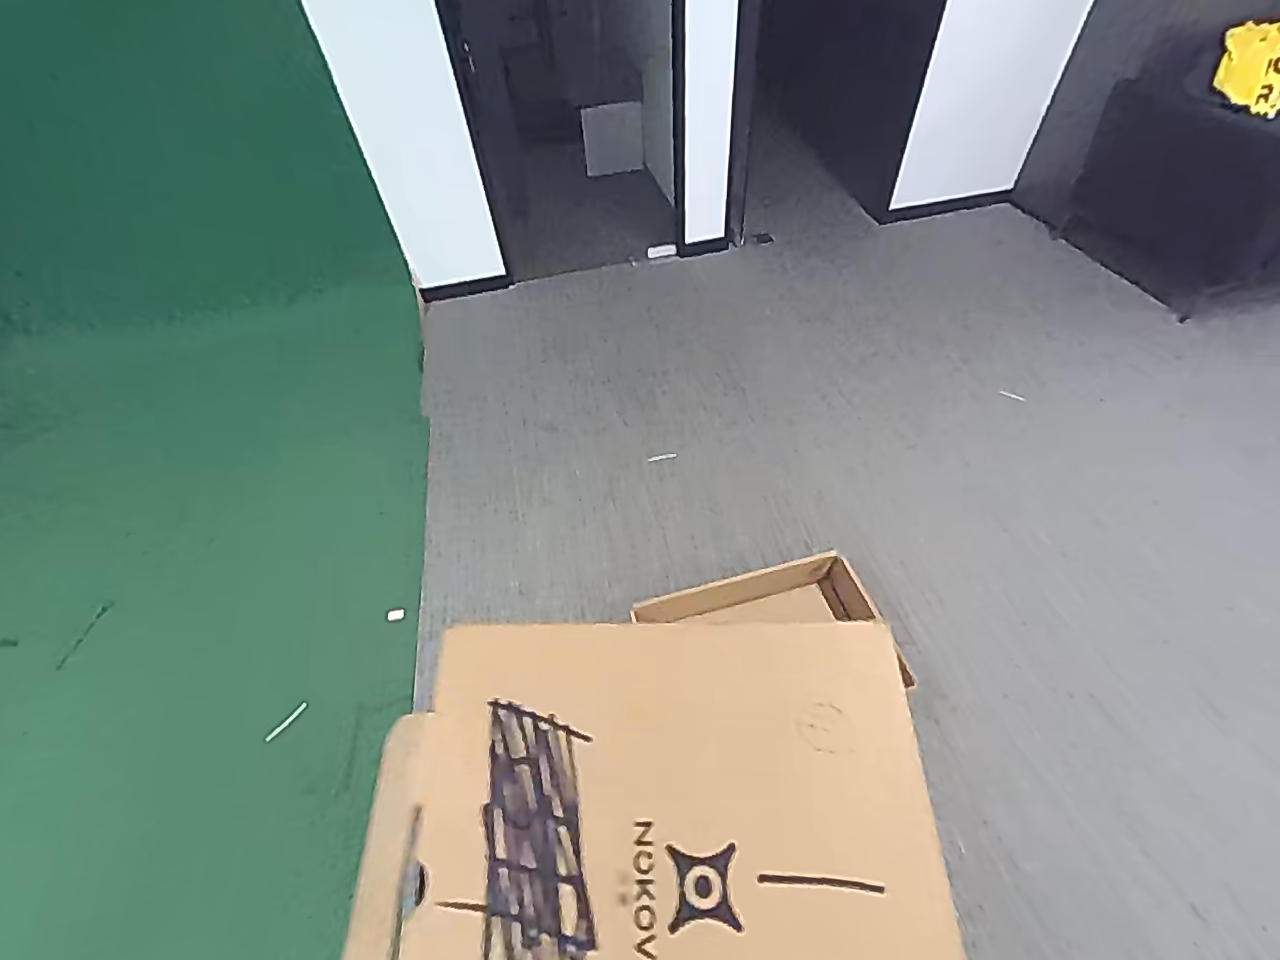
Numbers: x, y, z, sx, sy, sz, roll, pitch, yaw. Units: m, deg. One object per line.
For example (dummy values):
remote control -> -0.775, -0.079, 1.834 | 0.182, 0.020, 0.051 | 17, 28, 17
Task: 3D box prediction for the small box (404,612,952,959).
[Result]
small box -> 0.012, 0.165, 0.254 | 0.179, 0.176, 0.168 | -1, 62, 0
